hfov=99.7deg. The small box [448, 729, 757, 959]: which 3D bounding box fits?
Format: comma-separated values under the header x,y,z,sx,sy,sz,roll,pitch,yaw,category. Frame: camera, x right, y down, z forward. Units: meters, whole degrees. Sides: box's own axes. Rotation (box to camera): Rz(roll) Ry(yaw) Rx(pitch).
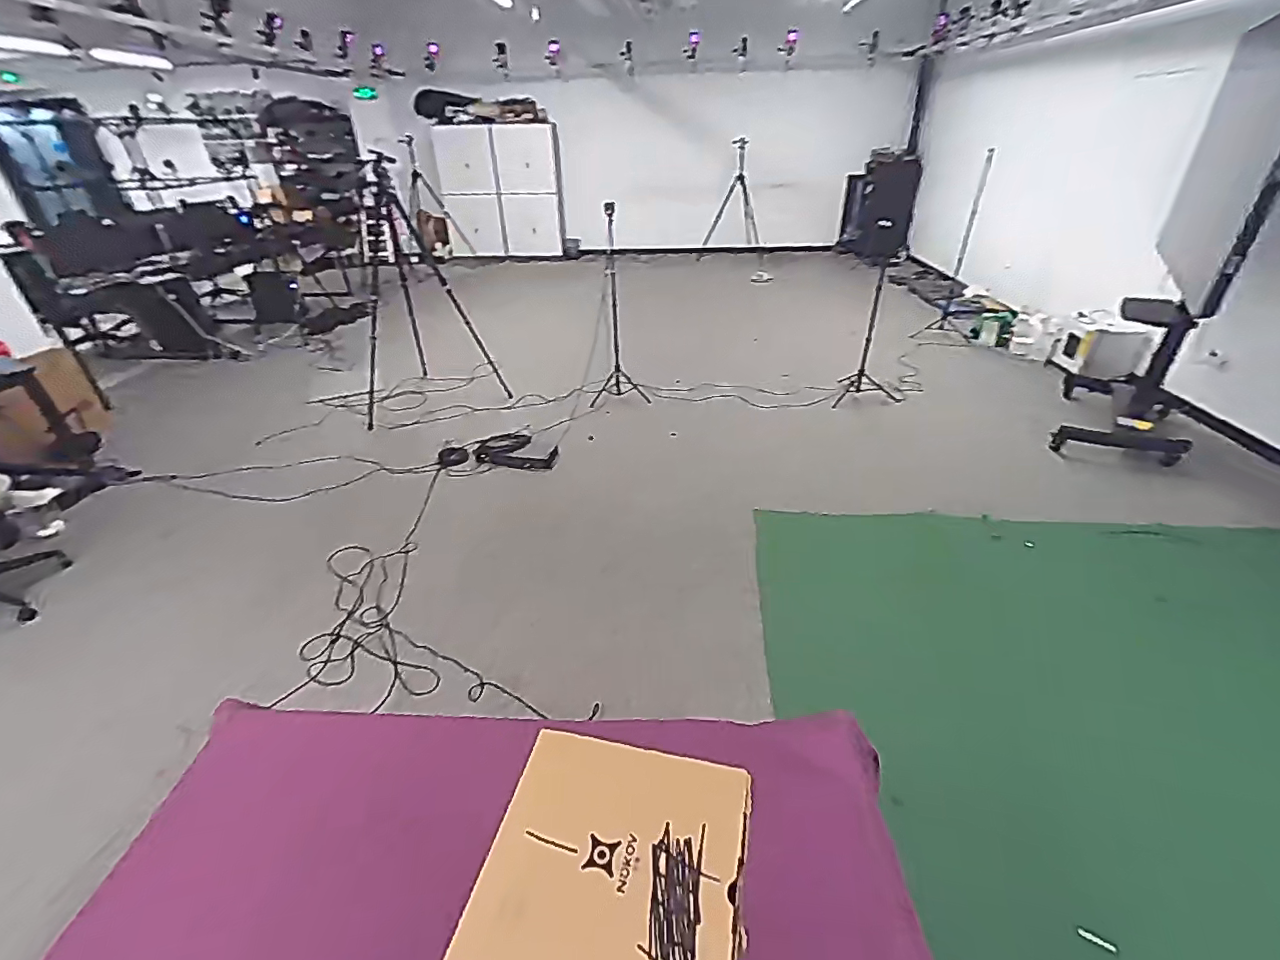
x,y,z,sx,sy,sz,roll,pitch,yaw,category
-0.012,0.329,0.414,0.179,0.176,0.168,6,35,14,small box
